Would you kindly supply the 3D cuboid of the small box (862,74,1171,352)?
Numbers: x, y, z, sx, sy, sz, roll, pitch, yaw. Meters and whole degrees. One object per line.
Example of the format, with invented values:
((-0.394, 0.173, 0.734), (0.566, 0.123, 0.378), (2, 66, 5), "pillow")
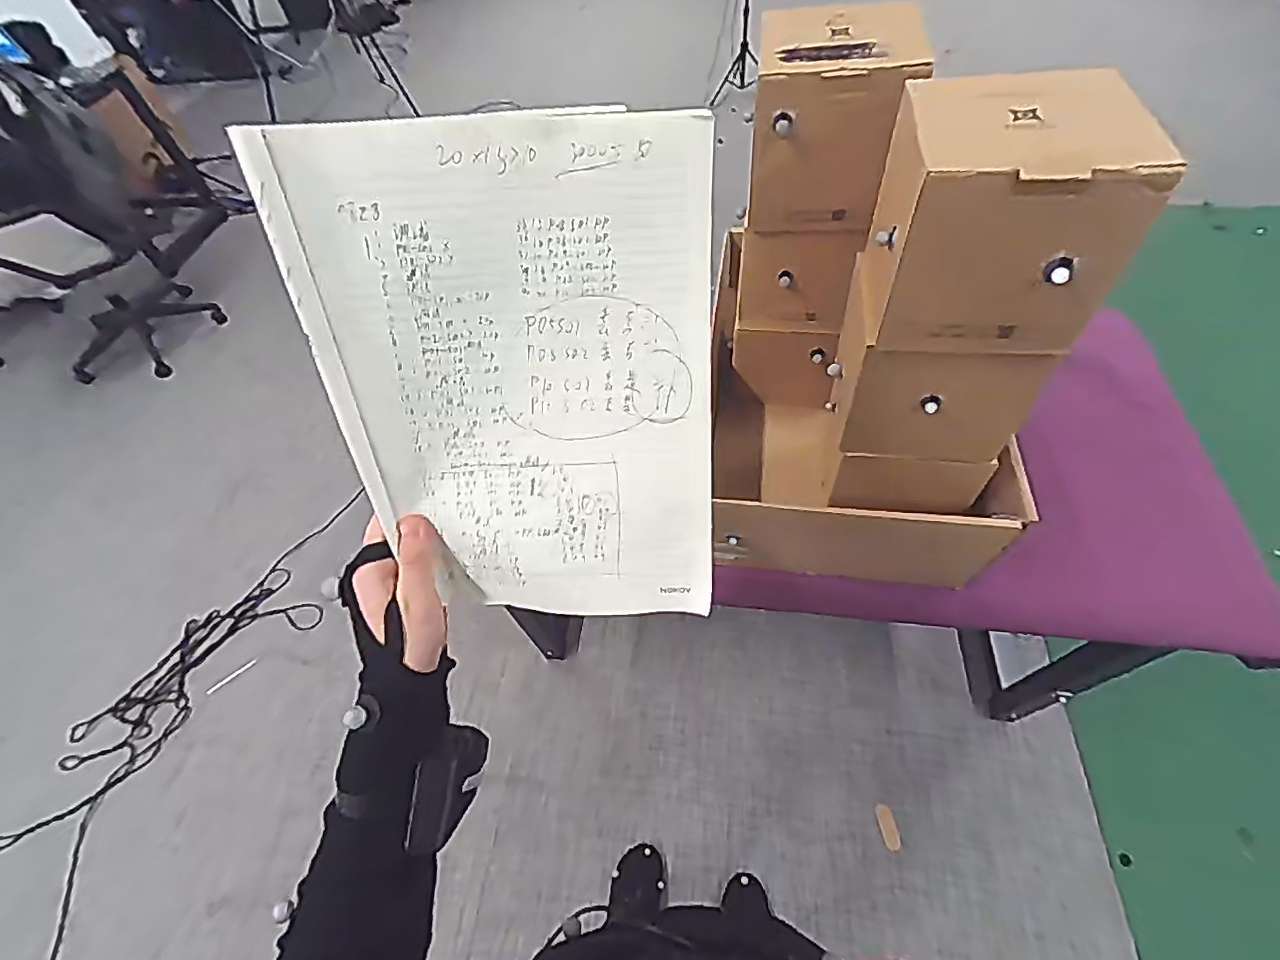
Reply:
((0.308, -0.235, 0.493), (0.168, 0.176, 0.179), (5, 54, 12), "small box")

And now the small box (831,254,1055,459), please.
((0.325, -0.139, 0.624), (0.179, 0.176, 0.168), (4, 54, 13), "small box")

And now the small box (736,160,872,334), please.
((0.229, -0.330, 0.780), (0.168, 0.176, 0.179), (5, 57, 11), "small box")
